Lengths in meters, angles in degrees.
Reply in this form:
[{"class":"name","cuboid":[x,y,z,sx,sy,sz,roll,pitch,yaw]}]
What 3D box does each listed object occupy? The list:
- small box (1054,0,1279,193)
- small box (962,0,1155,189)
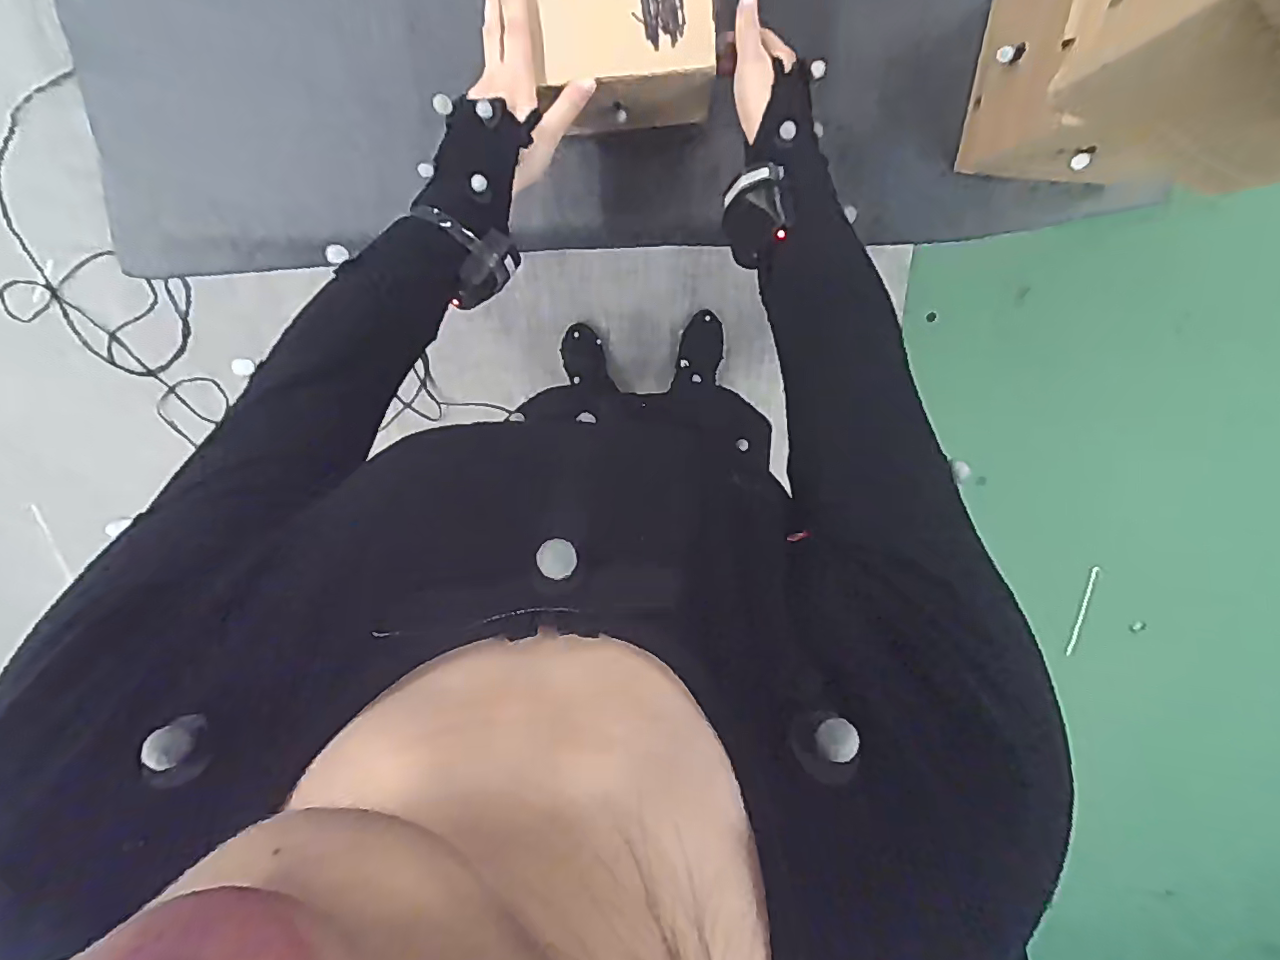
[{"class":"small box","cuboid":[0.431,-0.312,0.346,0.179,0.176,0.168,25,107,-6]},{"class":"small box","cuboid":[0.435,-0.378,0.495,0.179,0.176,0.168,5,108,2]}]
